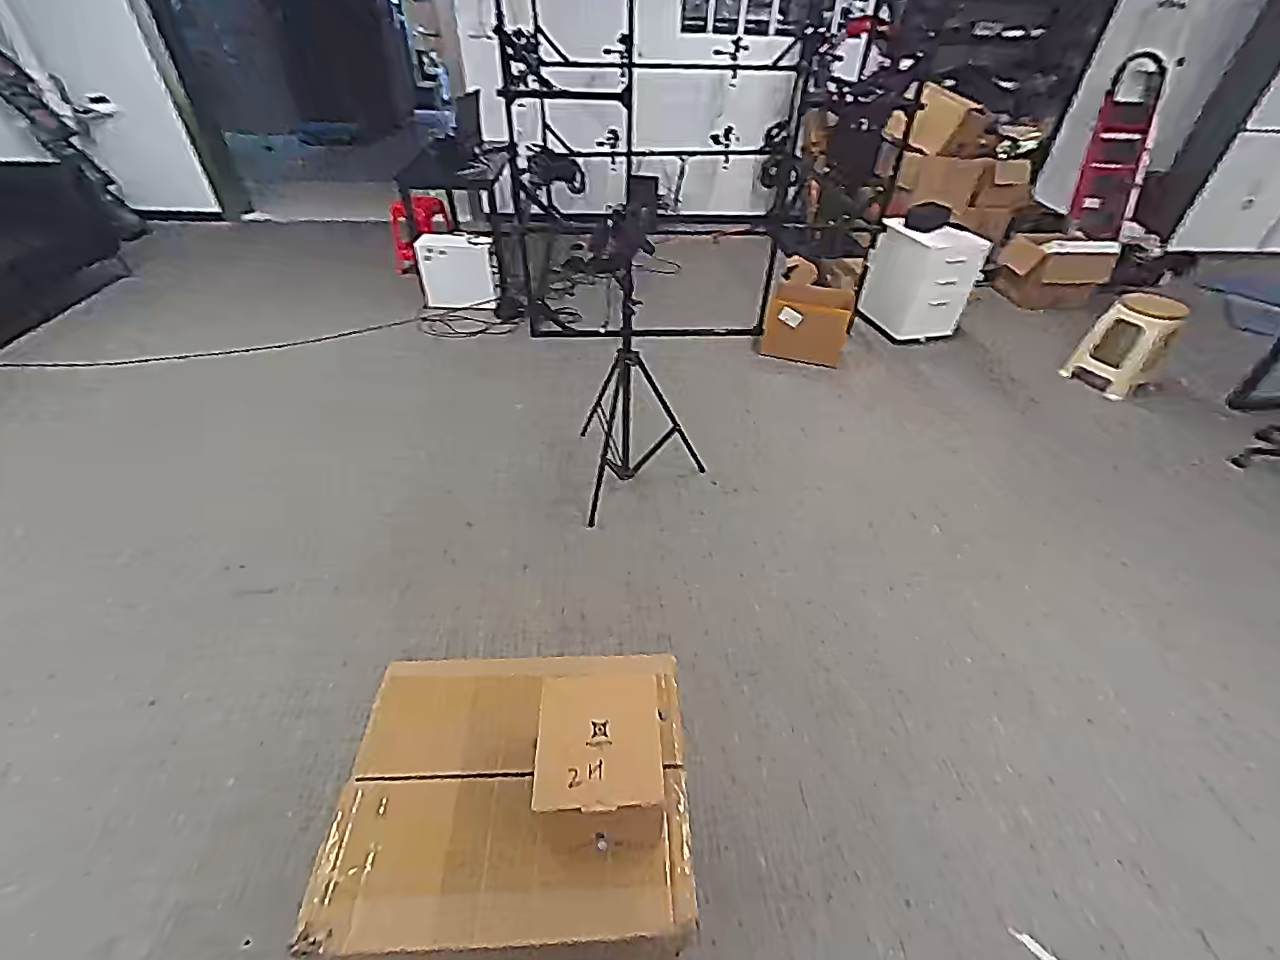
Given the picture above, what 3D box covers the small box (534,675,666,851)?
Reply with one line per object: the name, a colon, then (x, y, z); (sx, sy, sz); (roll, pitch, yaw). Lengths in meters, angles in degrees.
small box: (-0.055, 0.404, 0.777); (0.168, 0.176, 0.179); (-2, 42, -3)
